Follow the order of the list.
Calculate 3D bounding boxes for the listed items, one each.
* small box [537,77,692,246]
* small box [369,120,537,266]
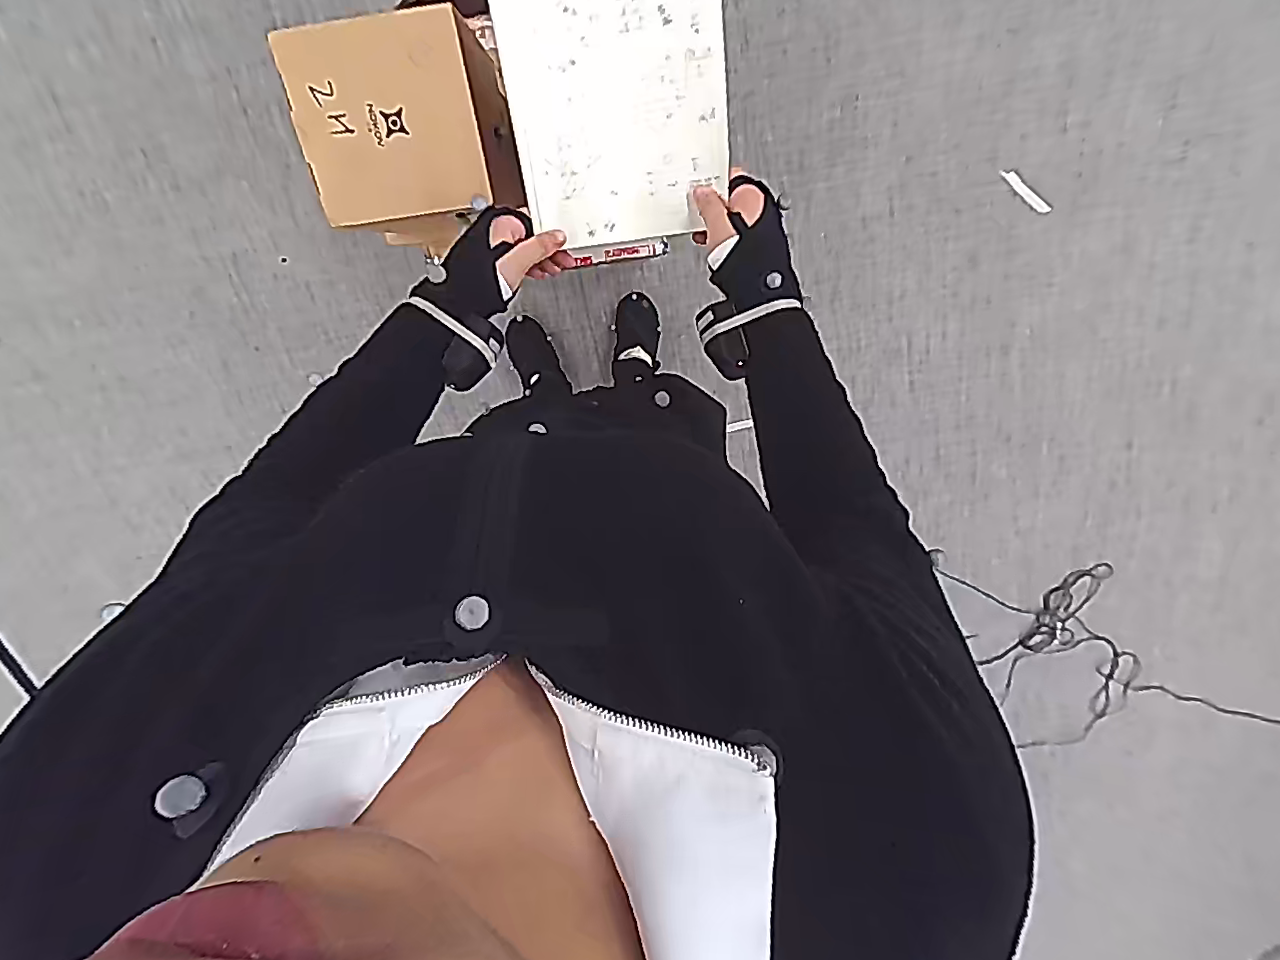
[{"bbox_3d":[-0.034,-0.436,0.766,0.179,0.176,0.168,-12,113,2],"label":"small box"},{"bbox_3d":[-0.248,-0.401,0.773,0.179,0.176,0.168,-3,114,1],"label":"small box"}]
